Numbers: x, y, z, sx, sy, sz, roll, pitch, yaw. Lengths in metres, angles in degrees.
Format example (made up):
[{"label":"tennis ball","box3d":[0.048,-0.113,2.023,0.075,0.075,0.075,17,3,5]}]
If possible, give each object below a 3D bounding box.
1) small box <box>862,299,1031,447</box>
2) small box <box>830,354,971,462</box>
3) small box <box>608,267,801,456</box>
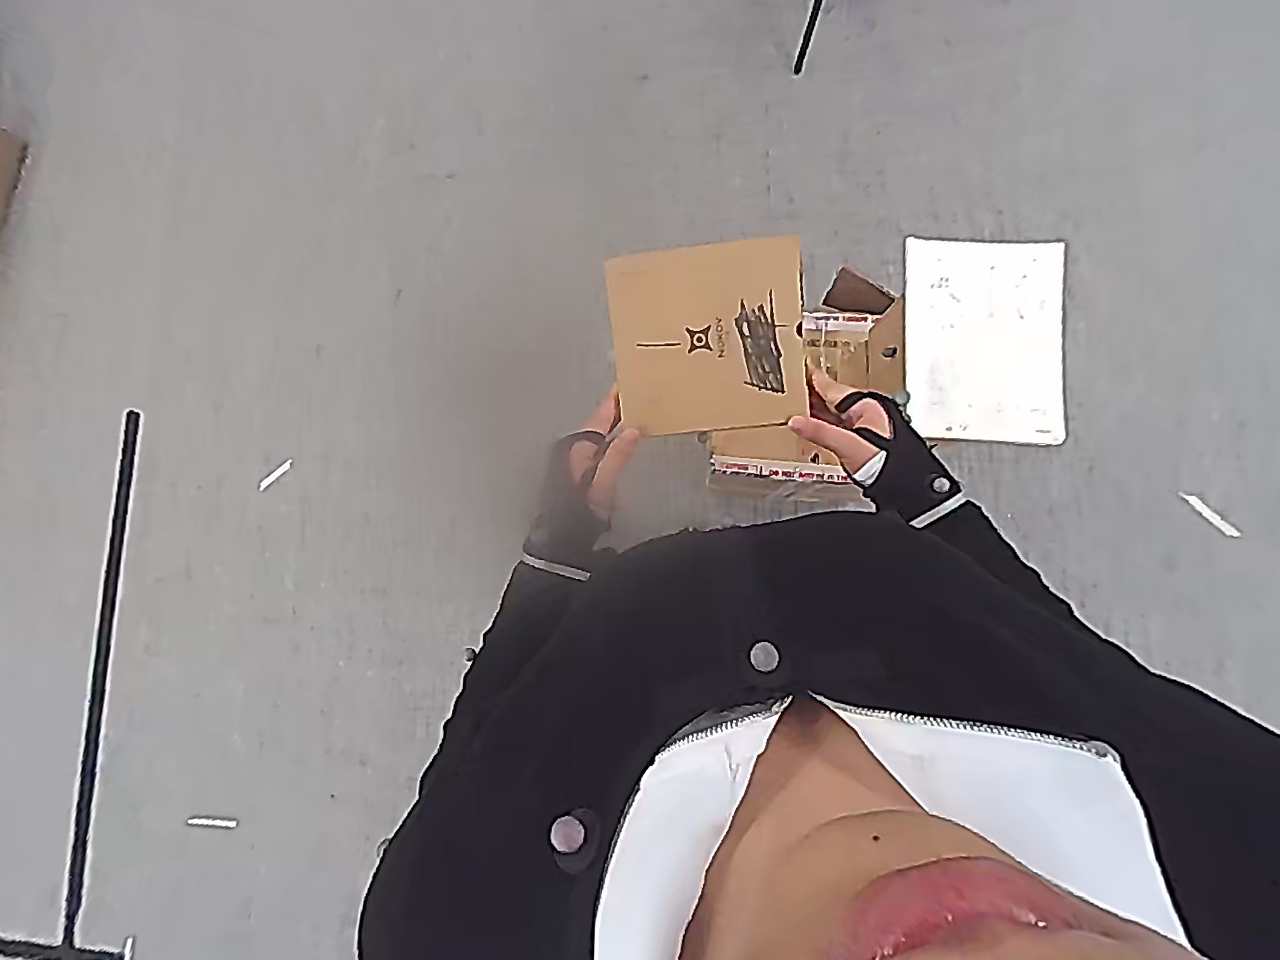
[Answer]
[{"label":"small box","box3d":[0.443,-0.151,0.808,0.168,0.176,0.179,1,84,4]},{"label":"small box","box3d":[0.456,-0.125,0.969,0.179,0.176,0.168,-2,84,4]},{"label":"small box","box3d":[0.065,-0.122,0.590,0.179,0.176,0.168,-5,98,4]}]
